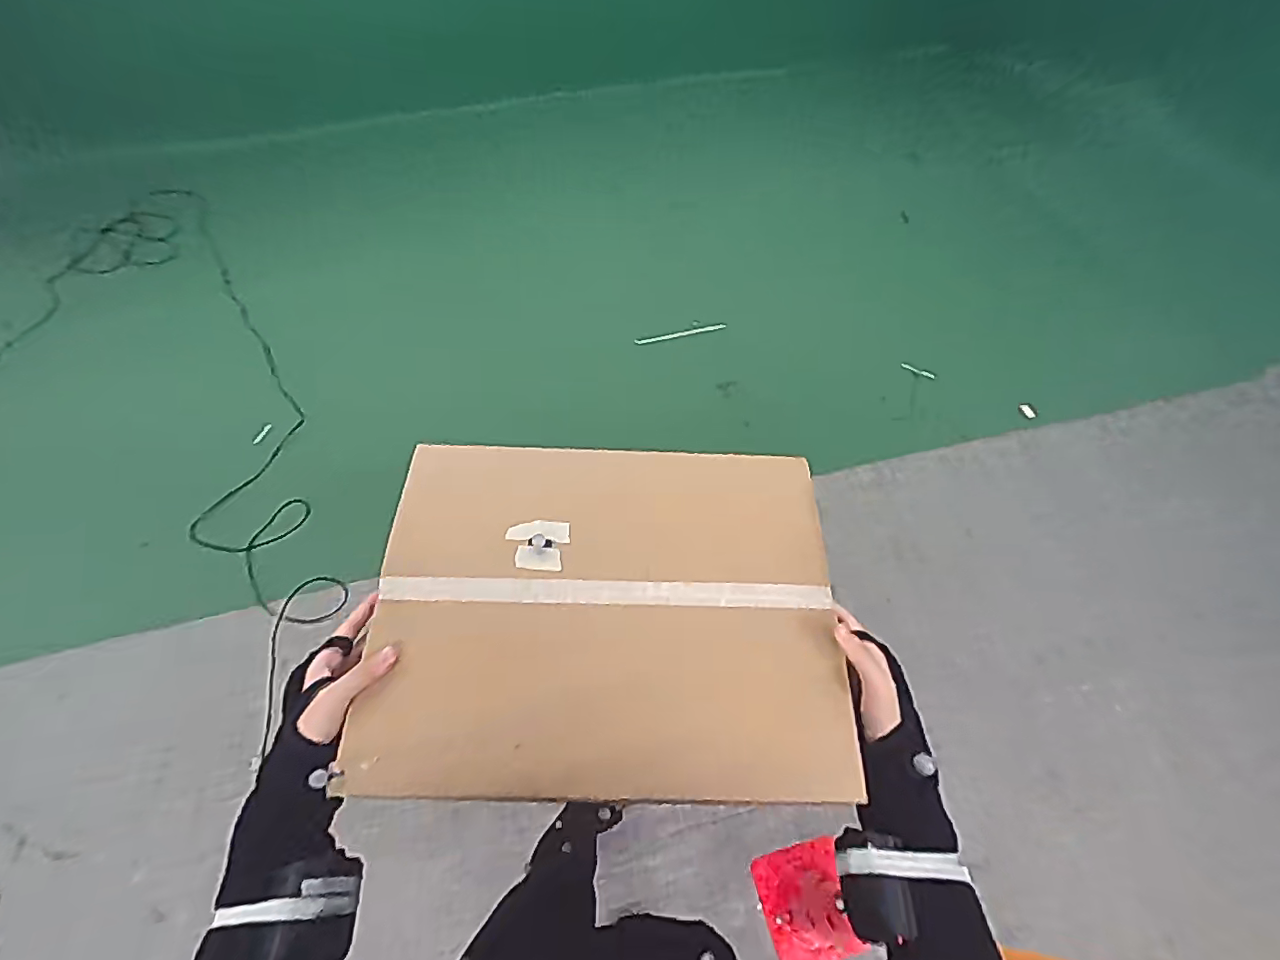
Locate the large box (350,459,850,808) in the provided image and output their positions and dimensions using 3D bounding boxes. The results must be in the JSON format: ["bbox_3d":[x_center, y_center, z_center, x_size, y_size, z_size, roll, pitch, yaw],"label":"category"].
[{"bbox_3d":[-0.029,0.190,0.627,0.408,0.320,0.320,3,59,0],"label":"large box"}]
